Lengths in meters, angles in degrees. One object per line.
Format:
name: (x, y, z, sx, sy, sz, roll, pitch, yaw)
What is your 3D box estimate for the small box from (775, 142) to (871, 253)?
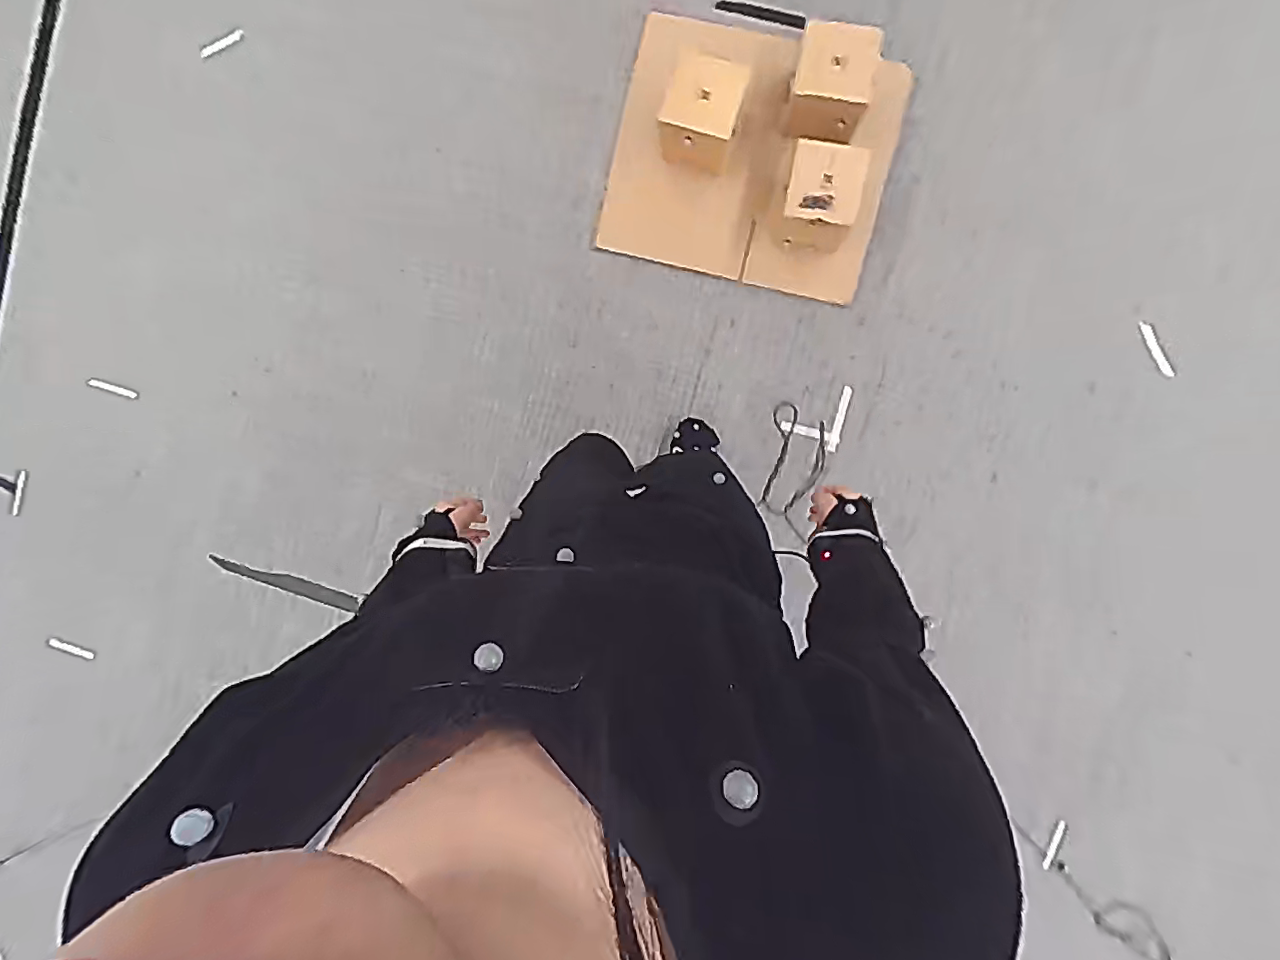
small box: (0.432, -0.672, 1.307, 0.168, 0.176, 0.179, 12, 94, 3)

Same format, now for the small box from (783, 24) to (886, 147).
small box: (0.456, -0.931, 1.292, 0.179, 0.176, 0.168, 10, 93, 4)

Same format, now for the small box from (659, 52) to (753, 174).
small box: (0.156, -0.878, 1.314, 0.179, 0.176, 0.168, 19, 95, 4)
